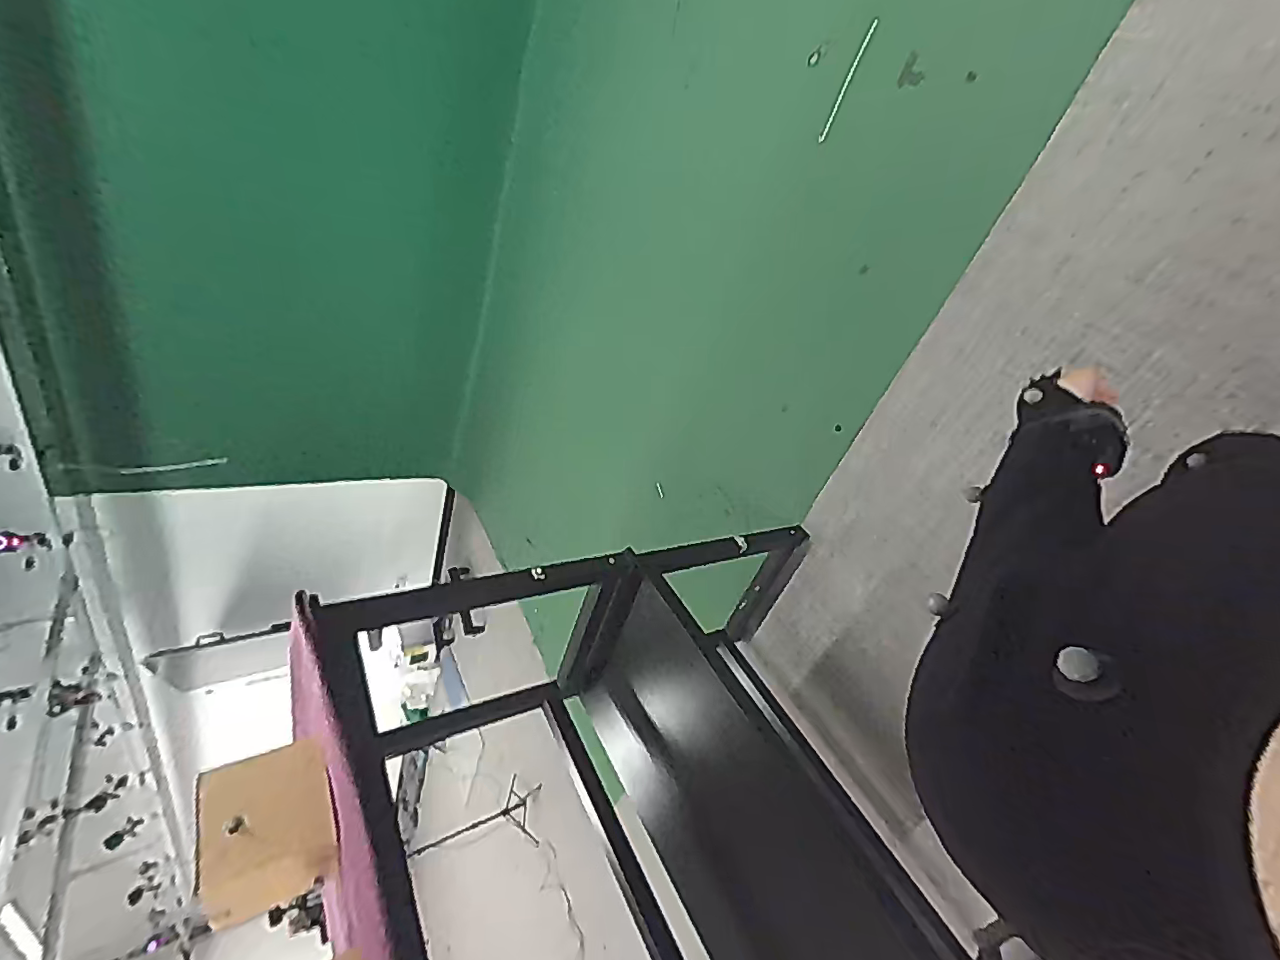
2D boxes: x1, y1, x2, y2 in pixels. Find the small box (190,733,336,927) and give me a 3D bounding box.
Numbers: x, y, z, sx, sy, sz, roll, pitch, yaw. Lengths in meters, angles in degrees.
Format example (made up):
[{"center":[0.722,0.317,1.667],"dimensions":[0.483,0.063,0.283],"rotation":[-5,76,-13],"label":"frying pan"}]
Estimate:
[{"center":[-0.584,0.539,0.850],"dimensions":[0.179,0.176,0.168],"rotation":[52,134,37],"label":"small box"}]
